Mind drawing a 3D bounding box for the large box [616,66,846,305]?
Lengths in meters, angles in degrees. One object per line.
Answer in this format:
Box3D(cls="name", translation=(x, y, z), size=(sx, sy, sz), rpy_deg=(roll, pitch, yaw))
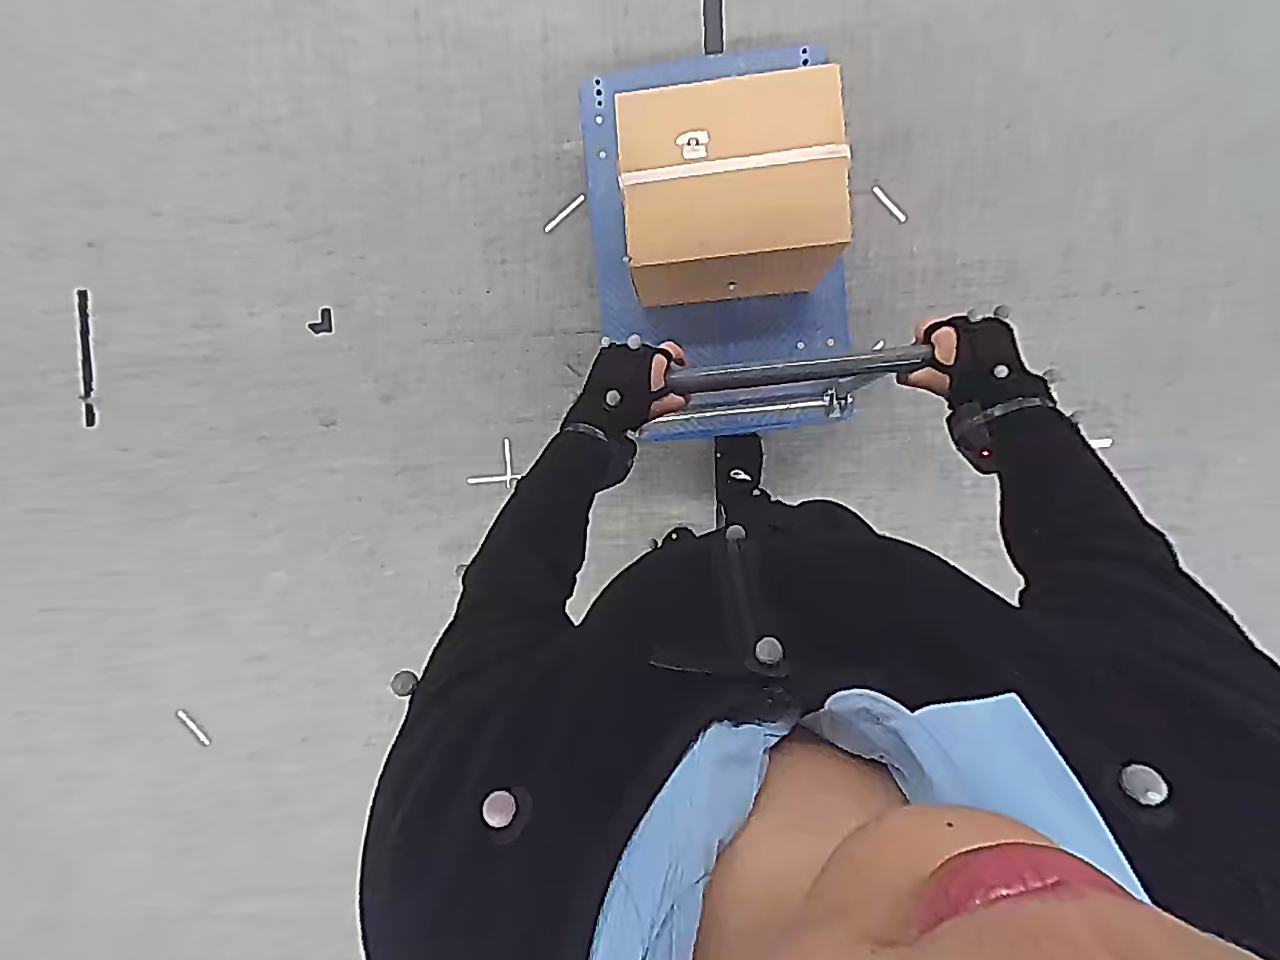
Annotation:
Box3D(cls="large box", translation=(0.181, -0.584, 1.147), size=(0.408, 0.320, 0.320), rpy_deg=(-5, 92, 6))
